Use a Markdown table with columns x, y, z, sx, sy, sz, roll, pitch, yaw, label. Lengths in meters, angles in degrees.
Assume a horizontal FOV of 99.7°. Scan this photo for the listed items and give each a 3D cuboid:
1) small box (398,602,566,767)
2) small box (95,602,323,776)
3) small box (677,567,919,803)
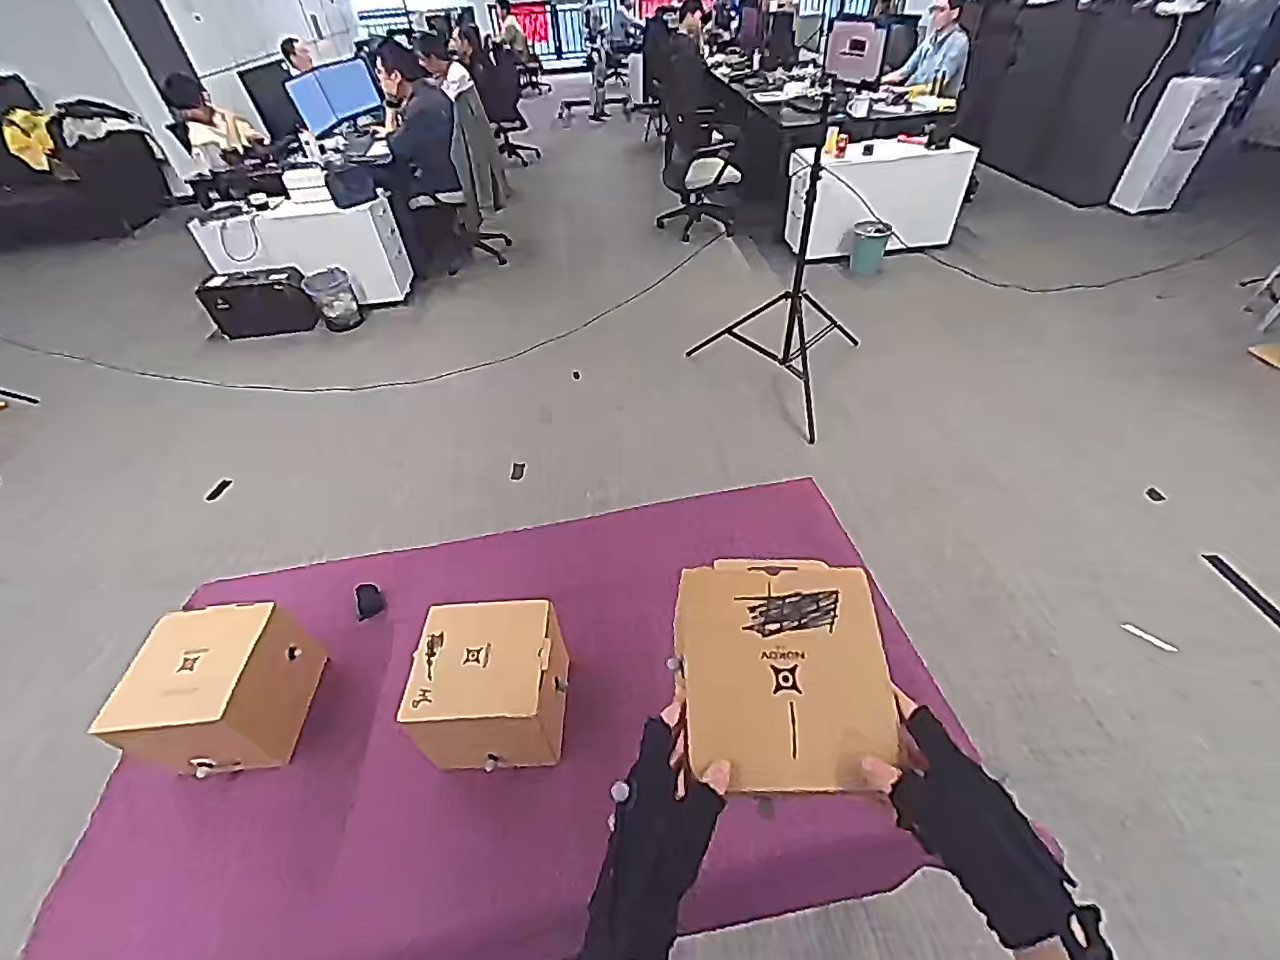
| x | y | z | sx | sy | sz | roll | pitch | yaw | label |
| --- | --- | --- | --- | --- | --- | --- | --- | --- | --- |
| -0.204 | 0.289 | 0.762 | 0.179 | 0.176 | 0.168 | -2 | 44 | 1 | small box |
| -0.595 | 0.301 | 0.782 | 0.168 | 0.176 | 0.179 | -6 | 45 | -1 | small box |
| 0.121 | 0.194 | 0.500 | 0.168 | 0.176 | 0.179 | -1 | 58 | 1 | small box |
